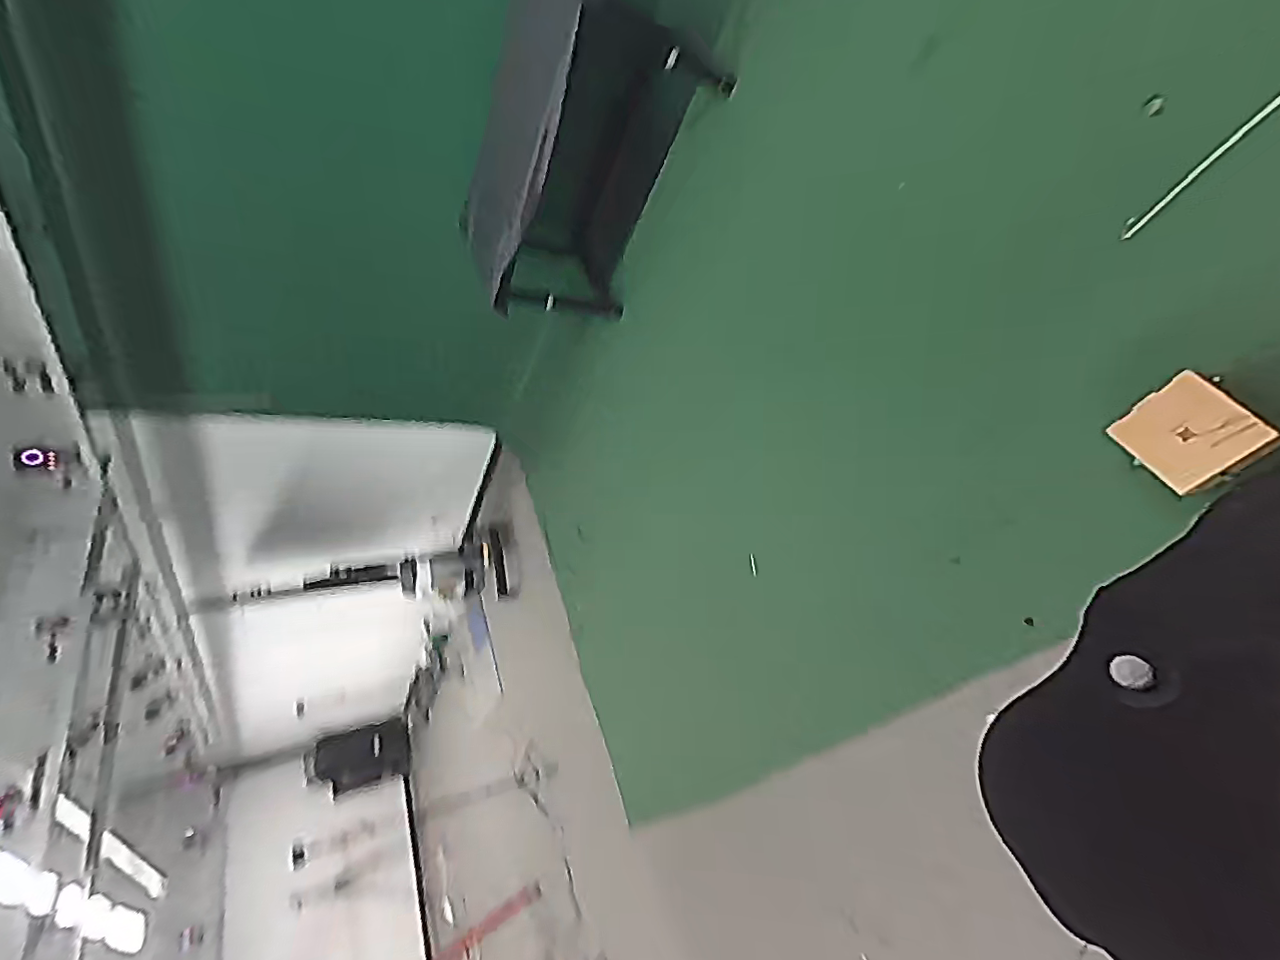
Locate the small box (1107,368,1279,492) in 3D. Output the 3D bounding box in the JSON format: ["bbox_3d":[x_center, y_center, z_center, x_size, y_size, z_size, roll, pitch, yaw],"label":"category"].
[{"bbox_3d":[1.089,-0.098,1.055,0.168,0.176,0.179,-60,44,40],"label":"small box"}]
